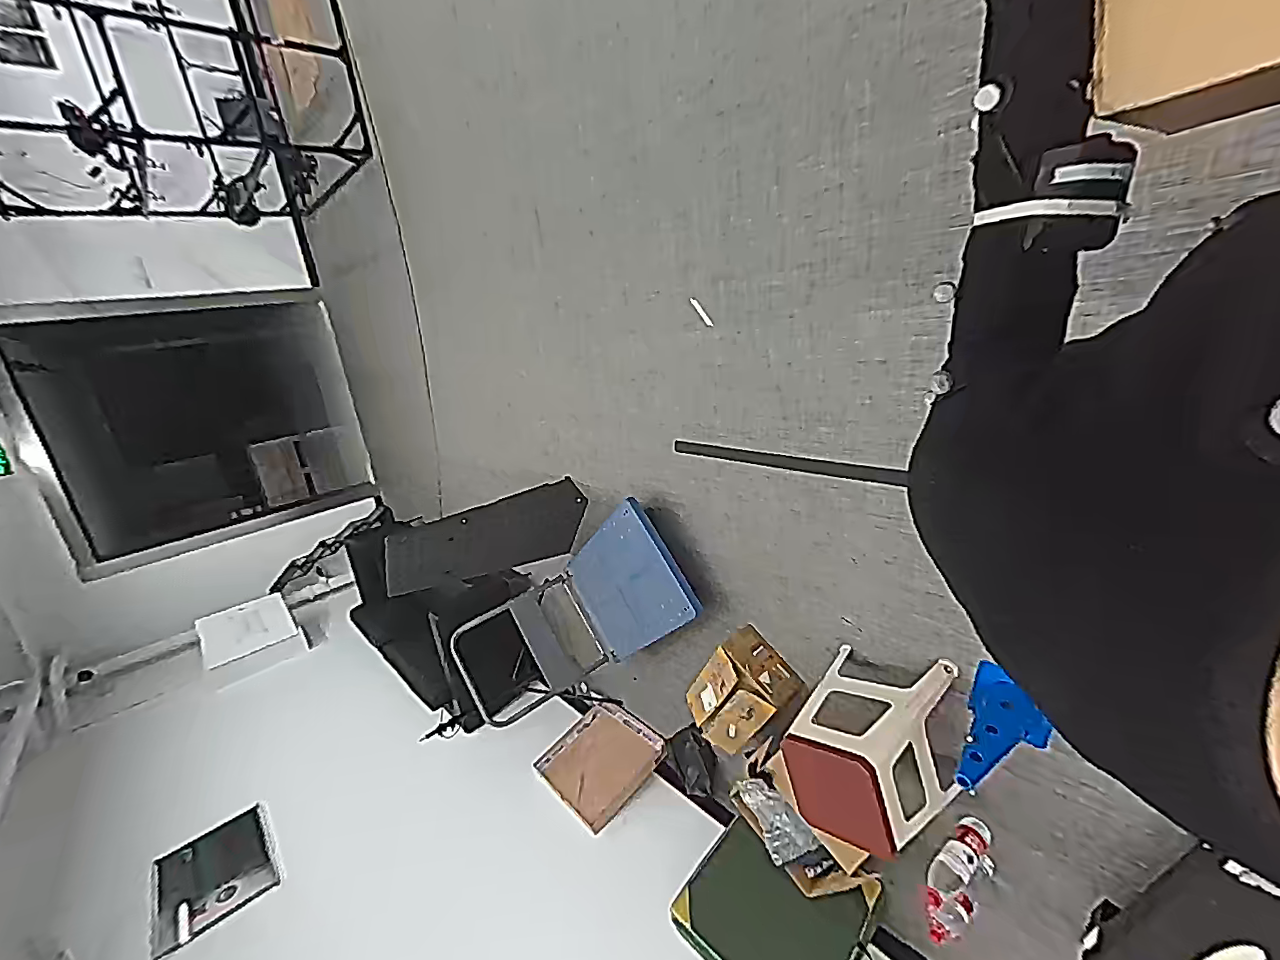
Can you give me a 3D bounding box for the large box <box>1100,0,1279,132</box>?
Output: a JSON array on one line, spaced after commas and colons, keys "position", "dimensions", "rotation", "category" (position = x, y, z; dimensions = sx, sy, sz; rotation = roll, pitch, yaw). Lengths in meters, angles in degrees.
[{"position": [0.510, -0.427, 0.265], "dimensions": [0.408, 0.320, 0.320], "rotation": [6, 115, 48], "category": "large box"}]
